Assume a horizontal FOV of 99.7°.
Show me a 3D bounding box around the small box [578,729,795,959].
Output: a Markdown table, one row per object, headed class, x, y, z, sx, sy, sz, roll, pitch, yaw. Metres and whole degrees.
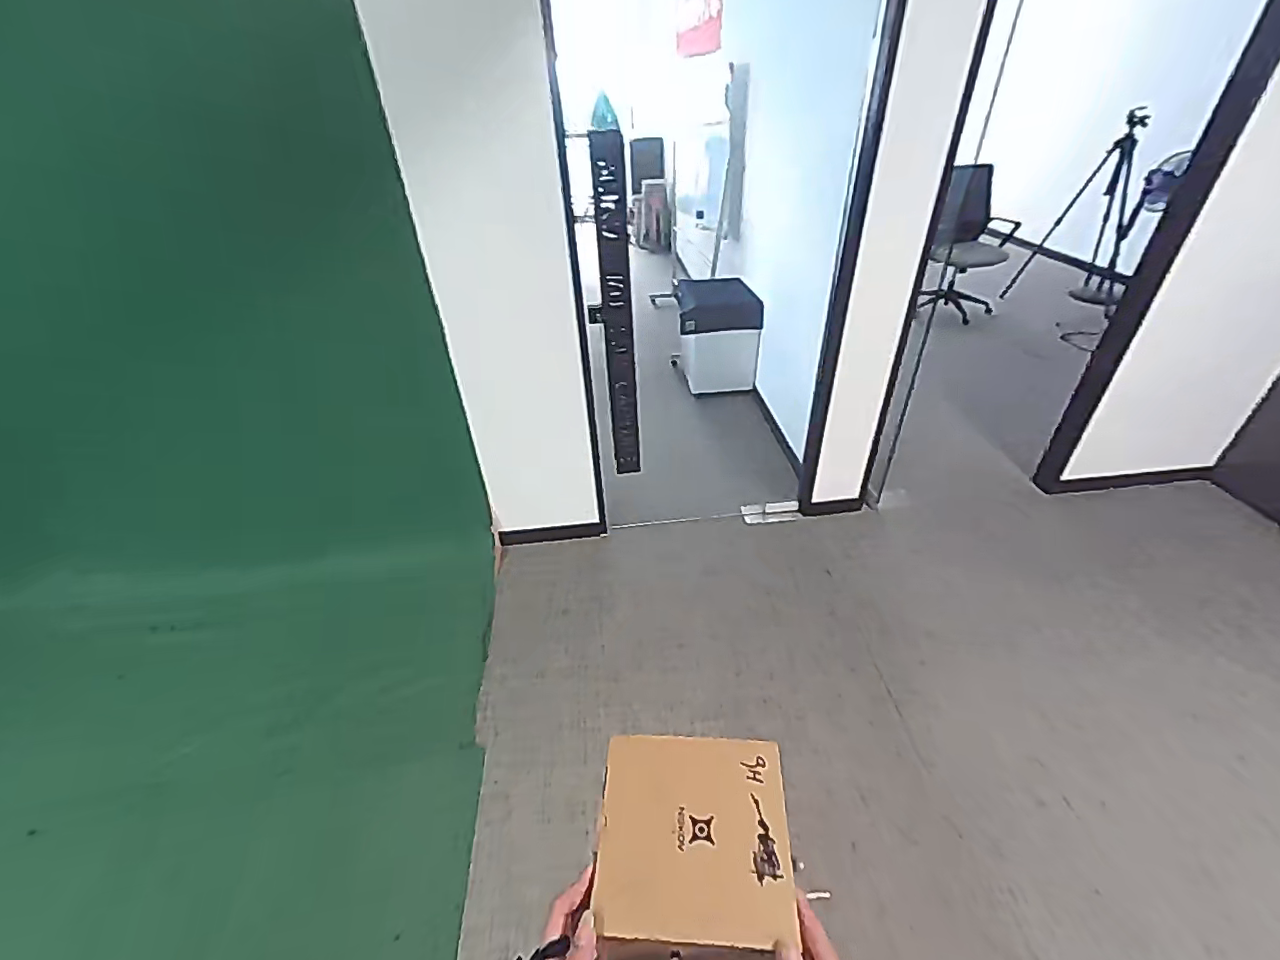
| class | x | y | z | sx | sy | sz | roll | pitch | yaw |
| --- | --- | --- | --- | --- | --- | --- | --- | --- | --- |
| small box | 0.049 | 0.370 | 0.536 | 0.179 | 0.176 | 0.168 | -1 | 40 | 7 |
